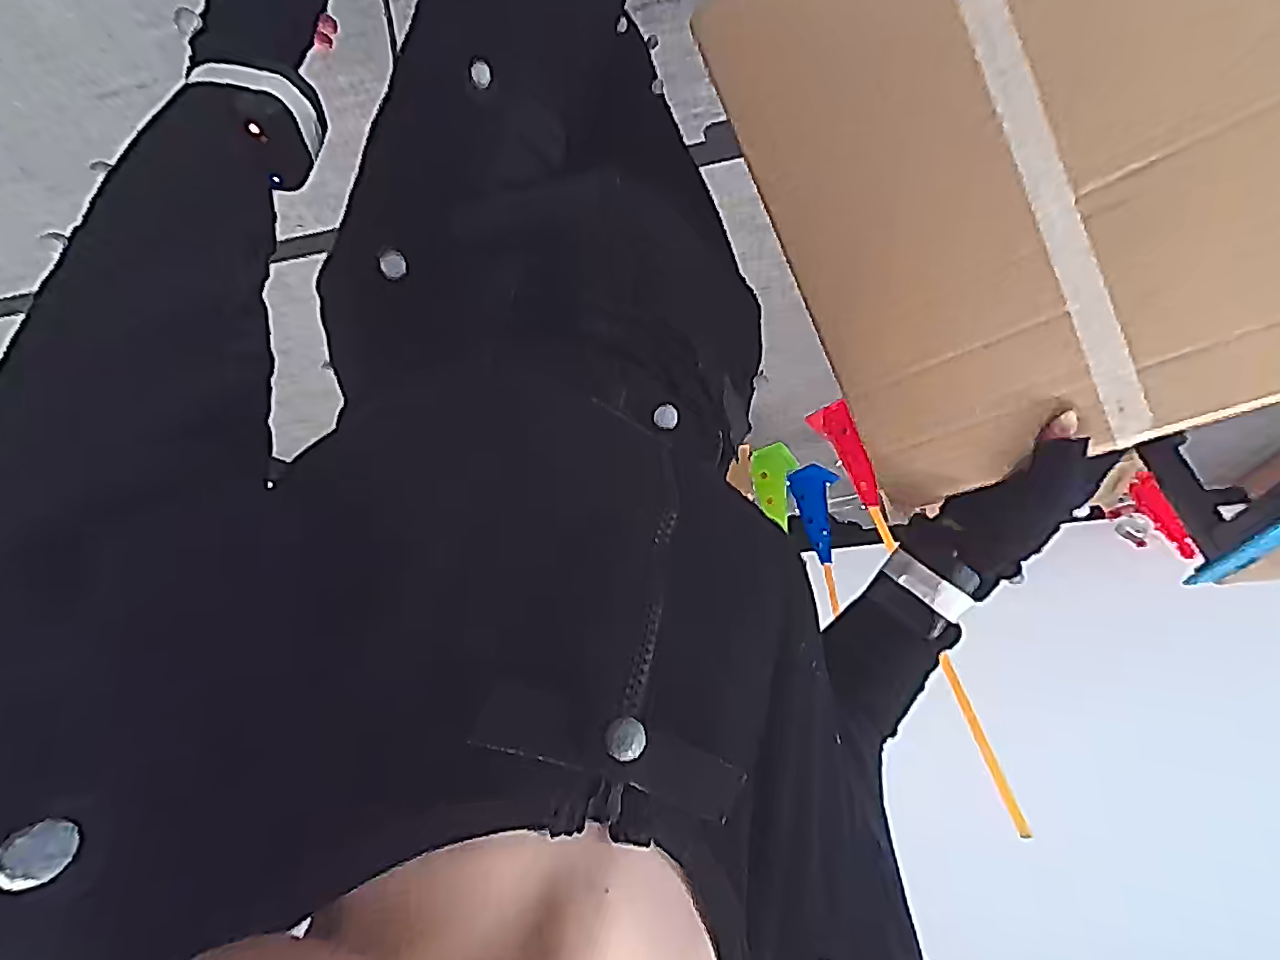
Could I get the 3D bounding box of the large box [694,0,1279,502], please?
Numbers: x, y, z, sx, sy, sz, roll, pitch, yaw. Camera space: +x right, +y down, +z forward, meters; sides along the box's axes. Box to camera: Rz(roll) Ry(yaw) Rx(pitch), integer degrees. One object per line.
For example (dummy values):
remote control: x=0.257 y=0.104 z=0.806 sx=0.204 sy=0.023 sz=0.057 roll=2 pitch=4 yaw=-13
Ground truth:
large box: x=0.303 y=-0.251 z=0.487 sx=0.320 sy=0.408 sz=0.320 roll=-21 pitch=-172 yaw=30
